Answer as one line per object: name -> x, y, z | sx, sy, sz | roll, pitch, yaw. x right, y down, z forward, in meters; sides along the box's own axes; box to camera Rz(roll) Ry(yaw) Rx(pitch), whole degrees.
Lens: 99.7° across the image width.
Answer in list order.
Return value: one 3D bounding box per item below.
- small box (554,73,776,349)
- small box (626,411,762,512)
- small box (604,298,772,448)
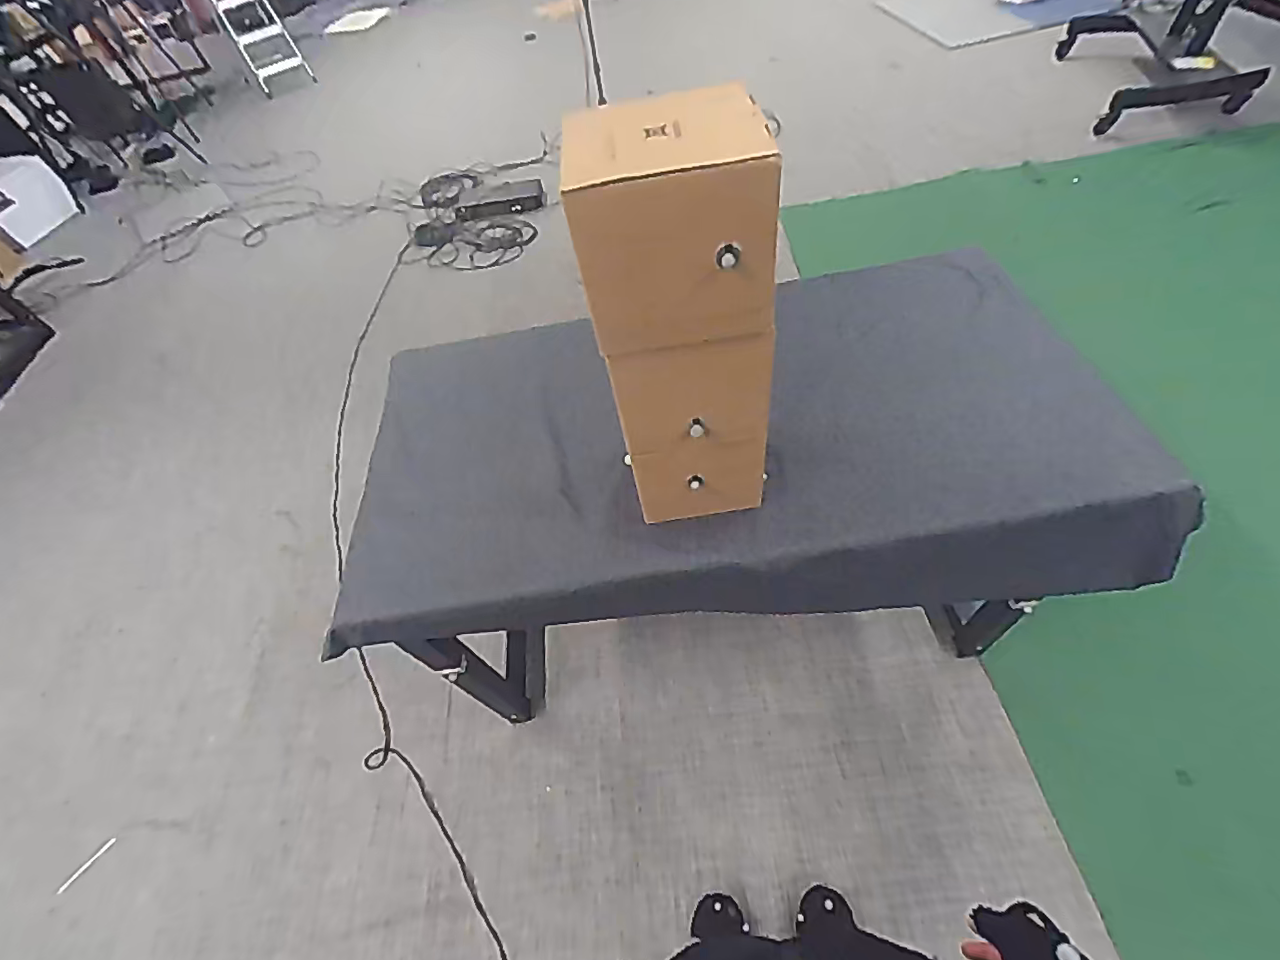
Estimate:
small box -> 0.025, -0.253, 0.526 | 0.179, 0.176, 0.168 | -9, 53, 5
small box -> 0.072, -0.071, 0.793 | 0.179, 0.176, 0.168 | -9, 54, 4
small box -> 0.050, -0.161, 0.661 | 0.179, 0.176, 0.168 | -11, 55, 3
